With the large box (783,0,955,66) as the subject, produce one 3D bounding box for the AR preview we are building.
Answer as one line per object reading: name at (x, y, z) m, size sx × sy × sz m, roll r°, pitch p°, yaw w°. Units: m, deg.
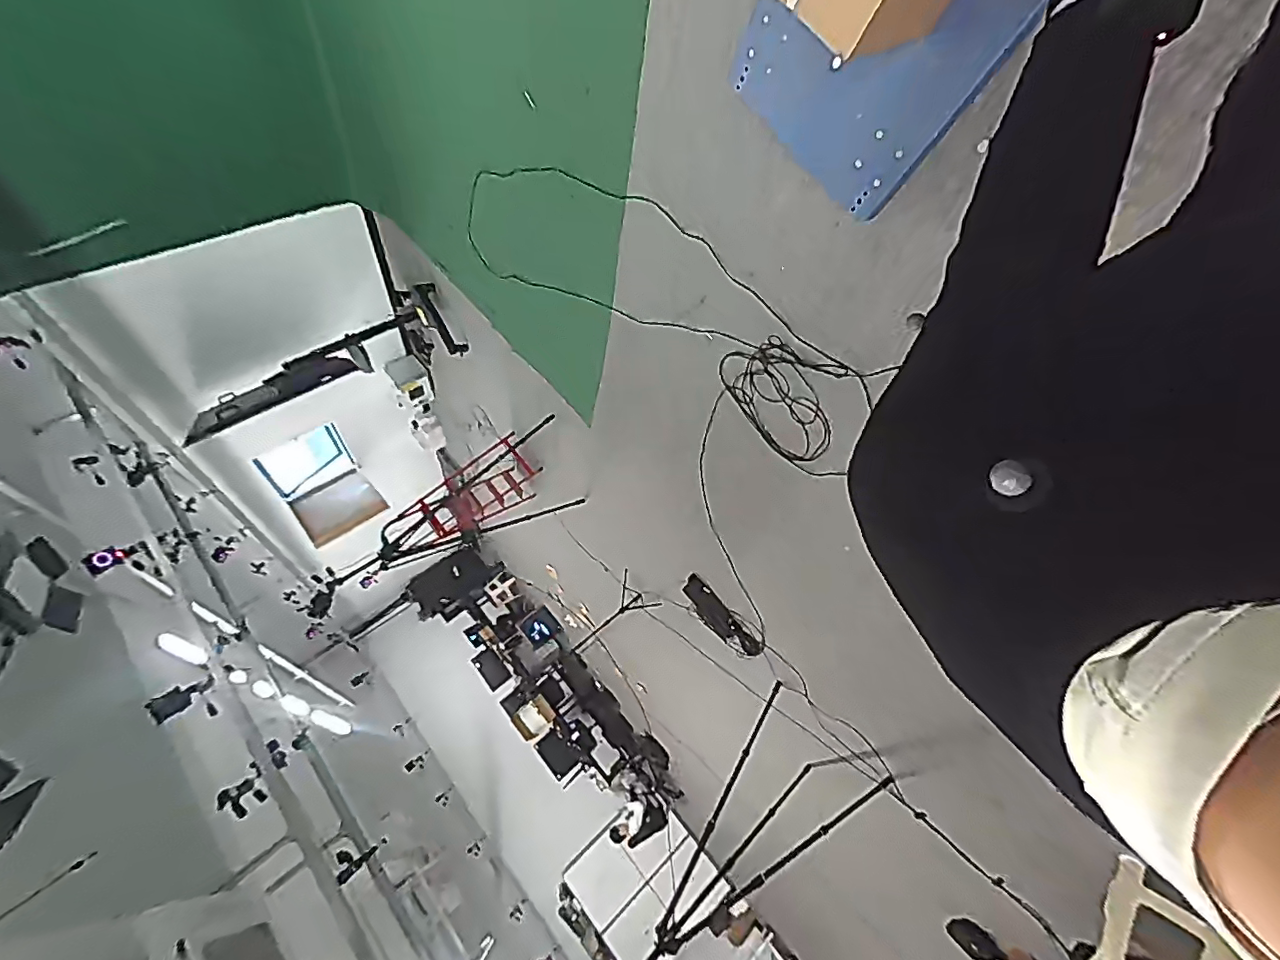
large box at (0.461, -1.038, 0.915) m, size 0.320 × 0.320 × 0.408 m, roll 52°, pitch 154°, yaw 7°
